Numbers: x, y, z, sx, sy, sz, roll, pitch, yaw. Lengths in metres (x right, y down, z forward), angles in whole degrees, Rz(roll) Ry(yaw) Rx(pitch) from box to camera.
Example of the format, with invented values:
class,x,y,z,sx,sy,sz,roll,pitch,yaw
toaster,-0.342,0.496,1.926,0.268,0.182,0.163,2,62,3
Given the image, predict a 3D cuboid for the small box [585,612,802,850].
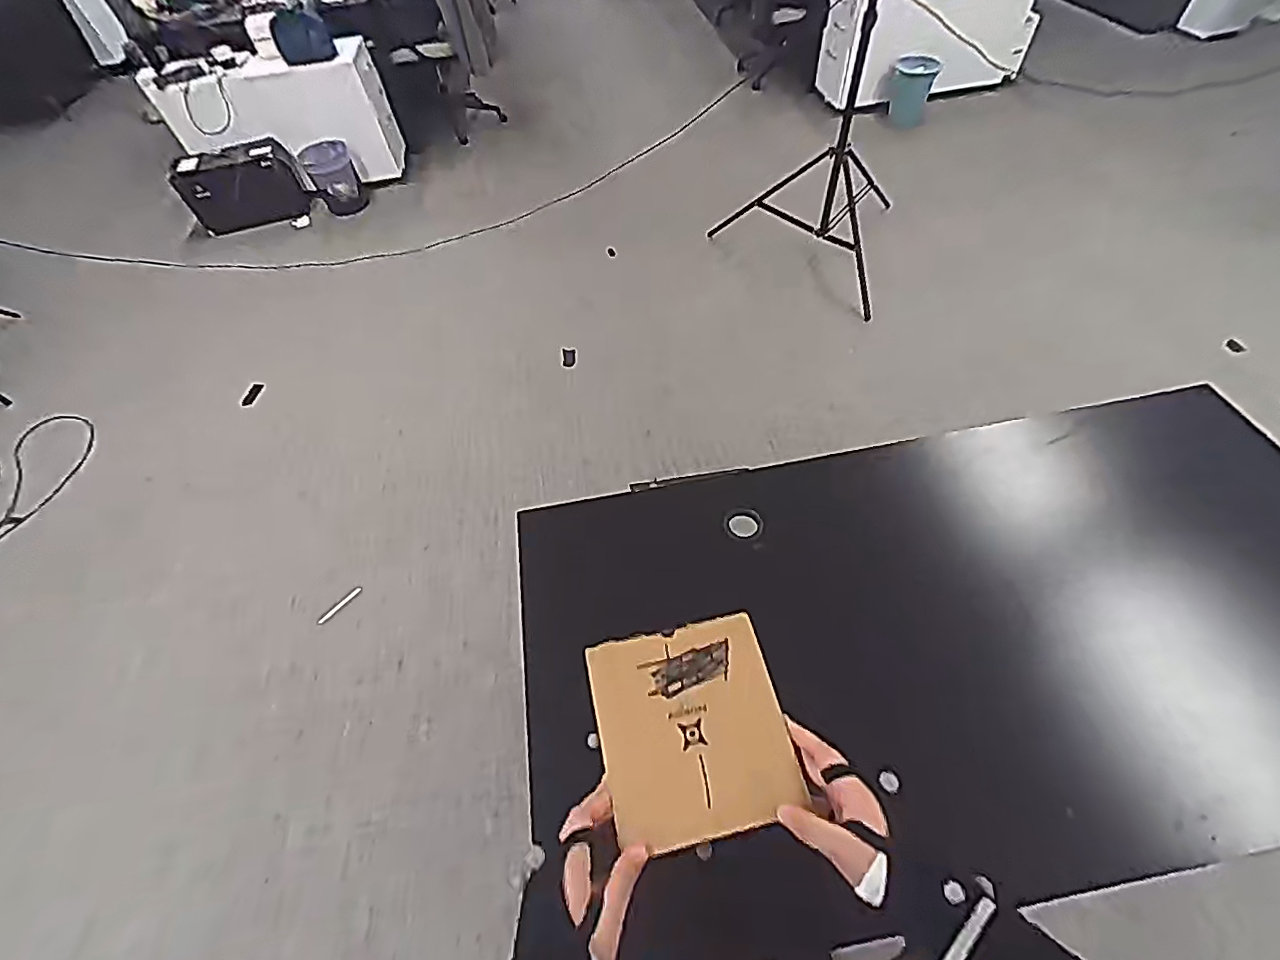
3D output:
class,x,y,z,sx,sy,sz,roll,pitch,yaw
small box,0.042,0.261,0.562,0.168,0.176,0.179,-11,59,-6
